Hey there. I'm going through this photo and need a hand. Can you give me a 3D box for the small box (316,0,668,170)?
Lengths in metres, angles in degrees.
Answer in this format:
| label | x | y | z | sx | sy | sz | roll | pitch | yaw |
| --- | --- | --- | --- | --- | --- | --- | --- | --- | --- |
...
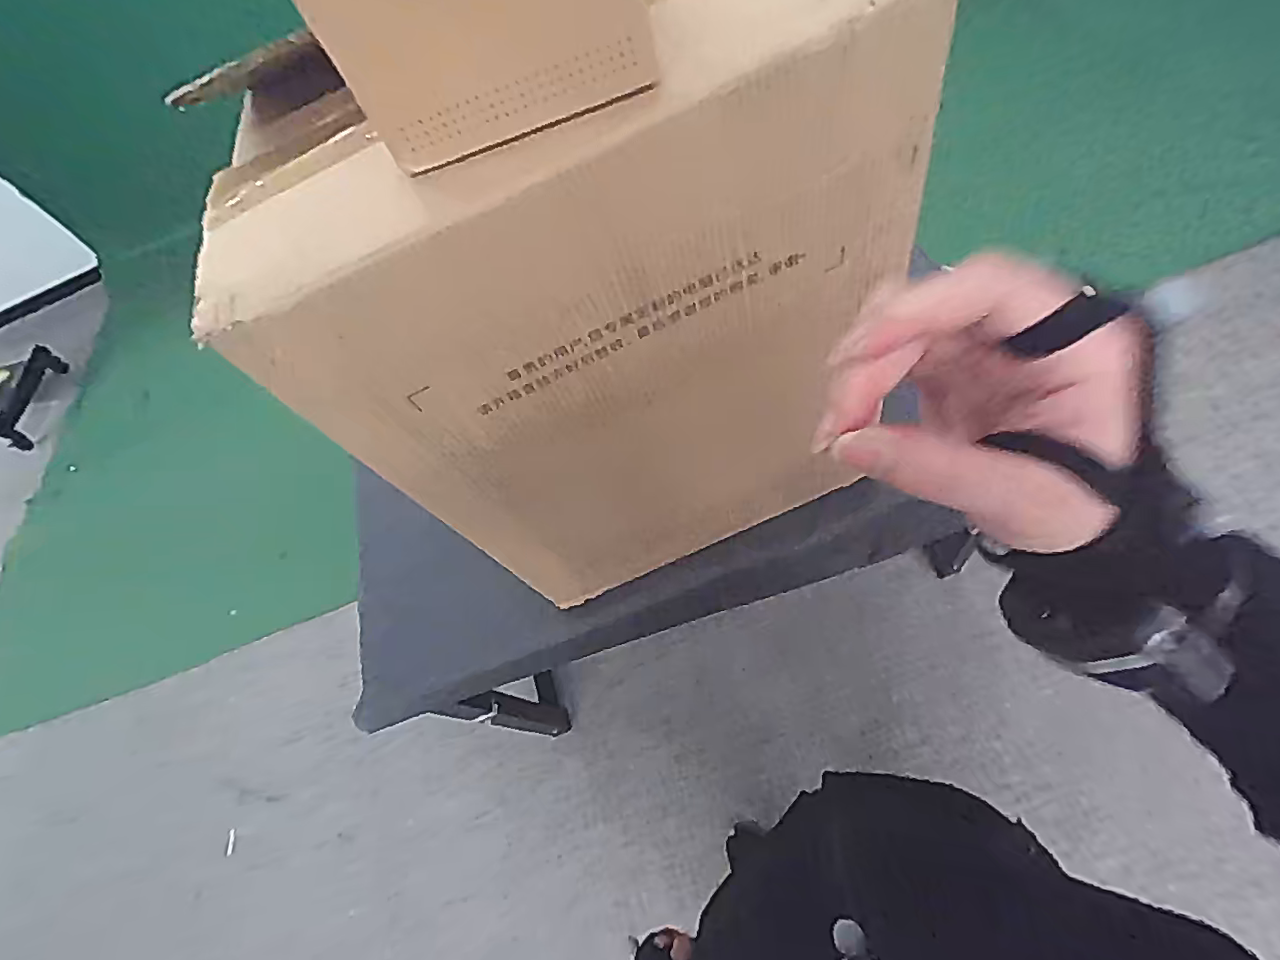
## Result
| label | x | y | z | sx | sy | sz | roll | pitch | yaw |
| --- | --- | --- | --- | --- | --- | --- | --- | --- | --- |
| small box | -0.097 | -0.321 | 0.315 | 0.179 | 0.176 | 0.168 | -16 | 59 | 8 |
